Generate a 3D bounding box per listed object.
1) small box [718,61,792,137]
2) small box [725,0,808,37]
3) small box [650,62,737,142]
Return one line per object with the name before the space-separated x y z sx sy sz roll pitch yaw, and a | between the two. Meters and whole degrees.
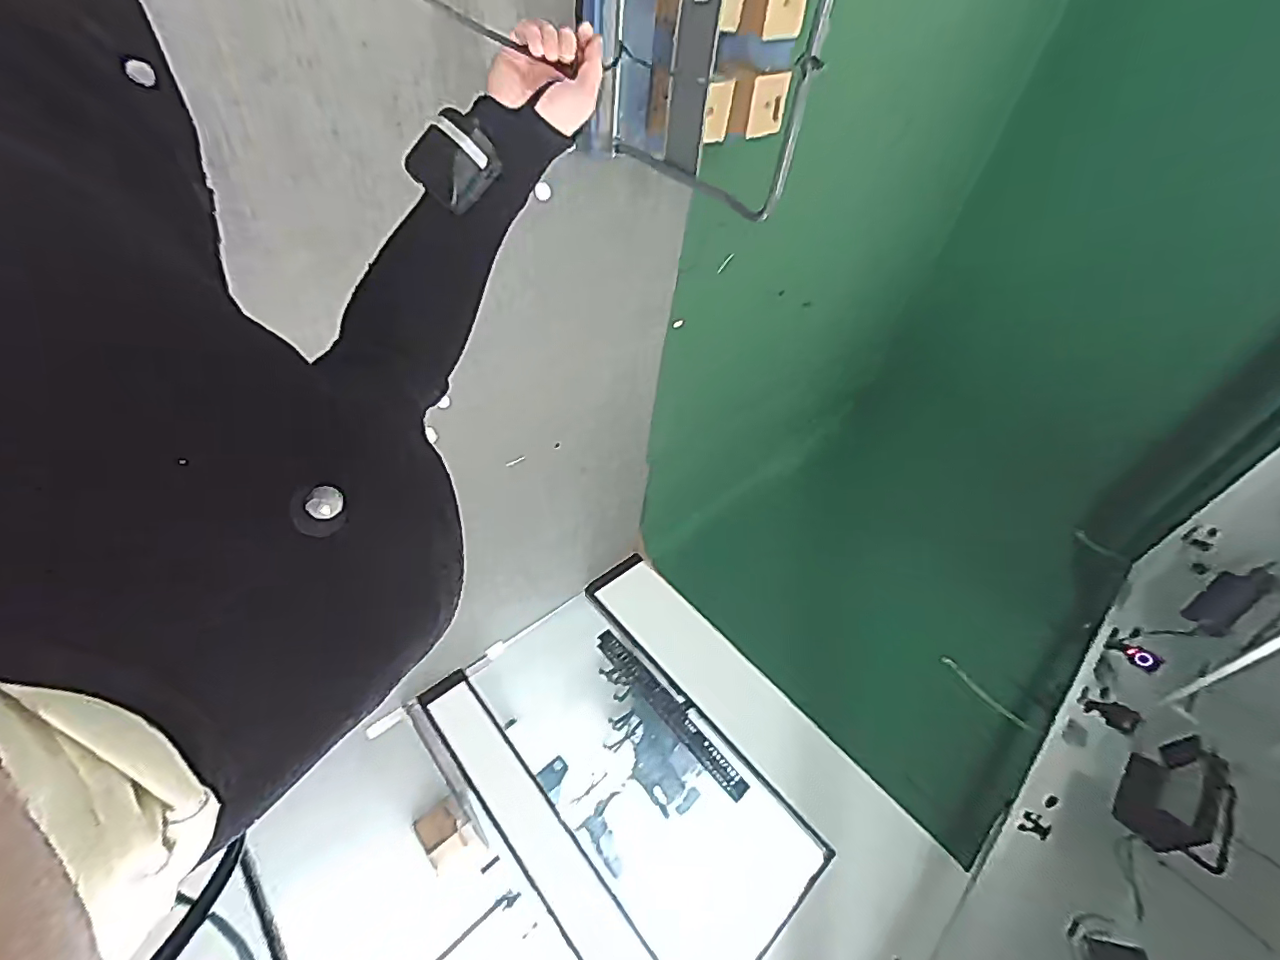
small box | 0.359 -1.245 1.761 0.179 0.176 0.168 -30 146 -28
small box | 0.372 -1.413 1.574 0.179 0.176 0.168 -31 148 -28
small box | 0.155 -1.135 1.621 0.179 0.176 0.168 -27 145 -32
